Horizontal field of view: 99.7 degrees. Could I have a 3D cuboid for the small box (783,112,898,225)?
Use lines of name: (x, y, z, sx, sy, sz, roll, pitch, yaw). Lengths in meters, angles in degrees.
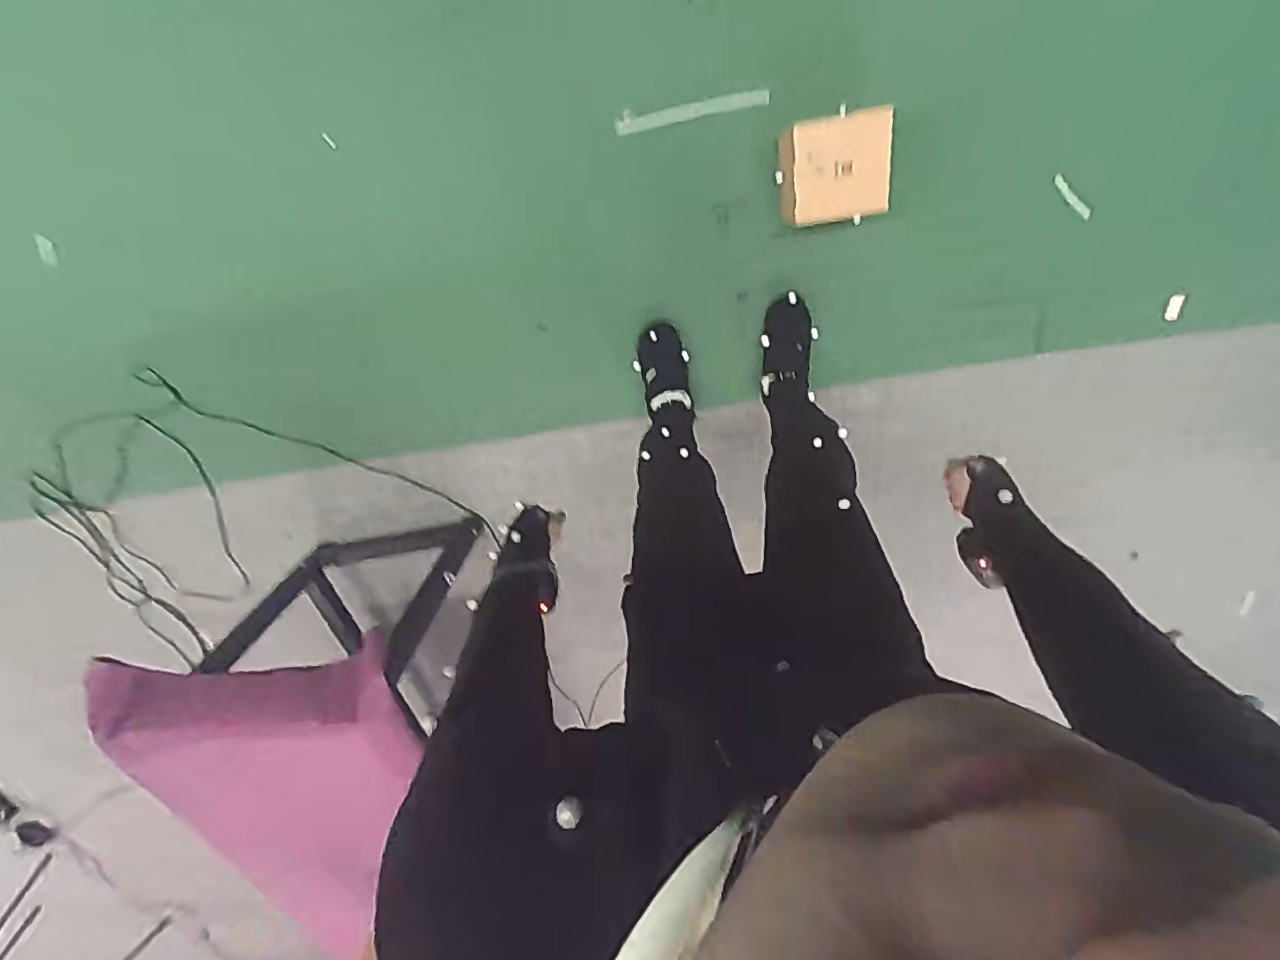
small box: (0.388, -0.612, 1.071, 0.179, 0.176, 0.168, -6, 118, 8)
